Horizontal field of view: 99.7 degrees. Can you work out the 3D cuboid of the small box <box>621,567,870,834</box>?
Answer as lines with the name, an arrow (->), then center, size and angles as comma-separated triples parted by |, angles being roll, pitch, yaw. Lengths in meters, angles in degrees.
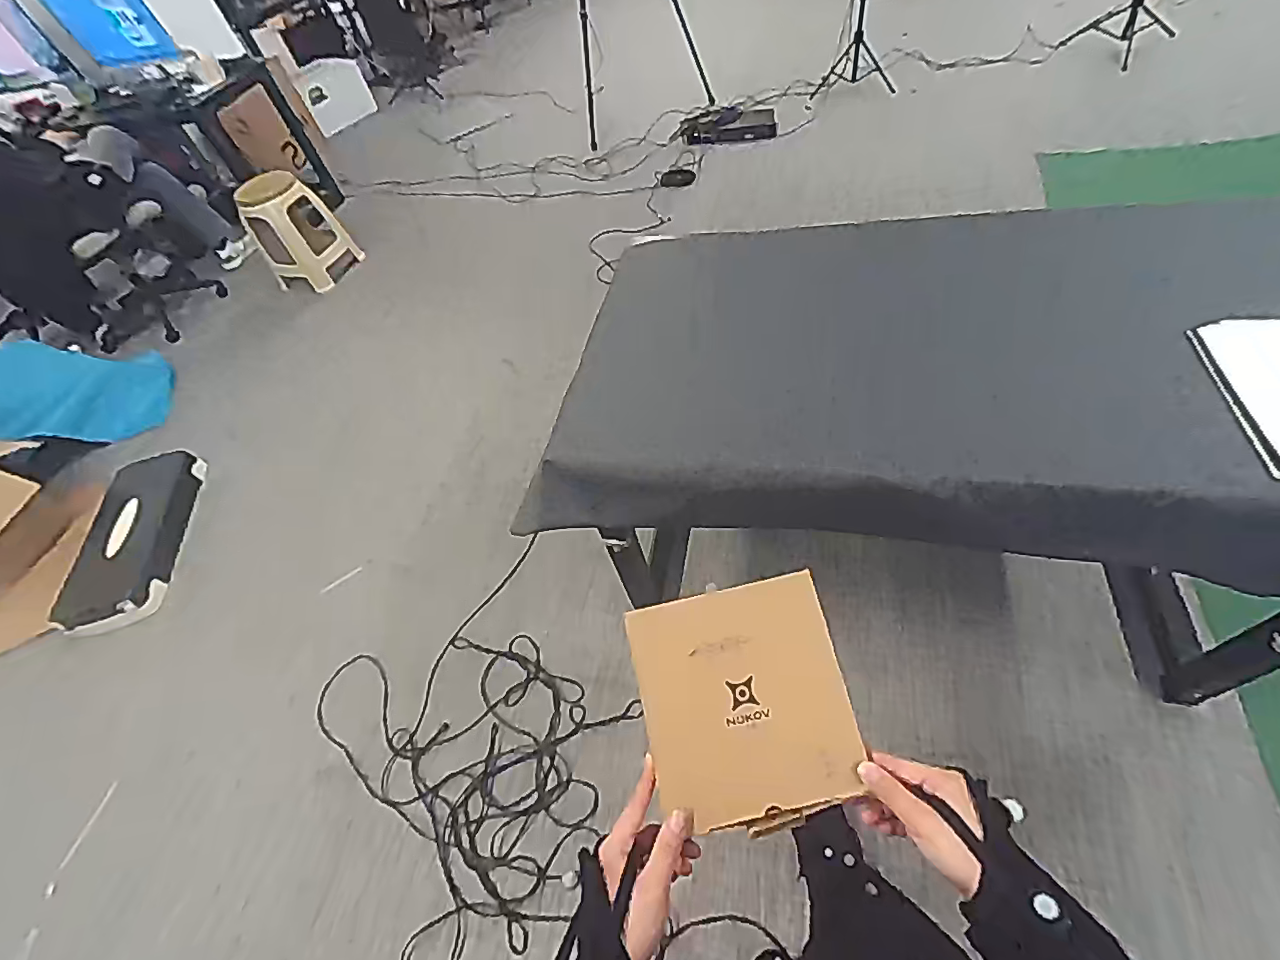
small box -> 0.083, 0.193, 0.510 | 0.168, 0.176, 0.179 | -13, 73, -3
